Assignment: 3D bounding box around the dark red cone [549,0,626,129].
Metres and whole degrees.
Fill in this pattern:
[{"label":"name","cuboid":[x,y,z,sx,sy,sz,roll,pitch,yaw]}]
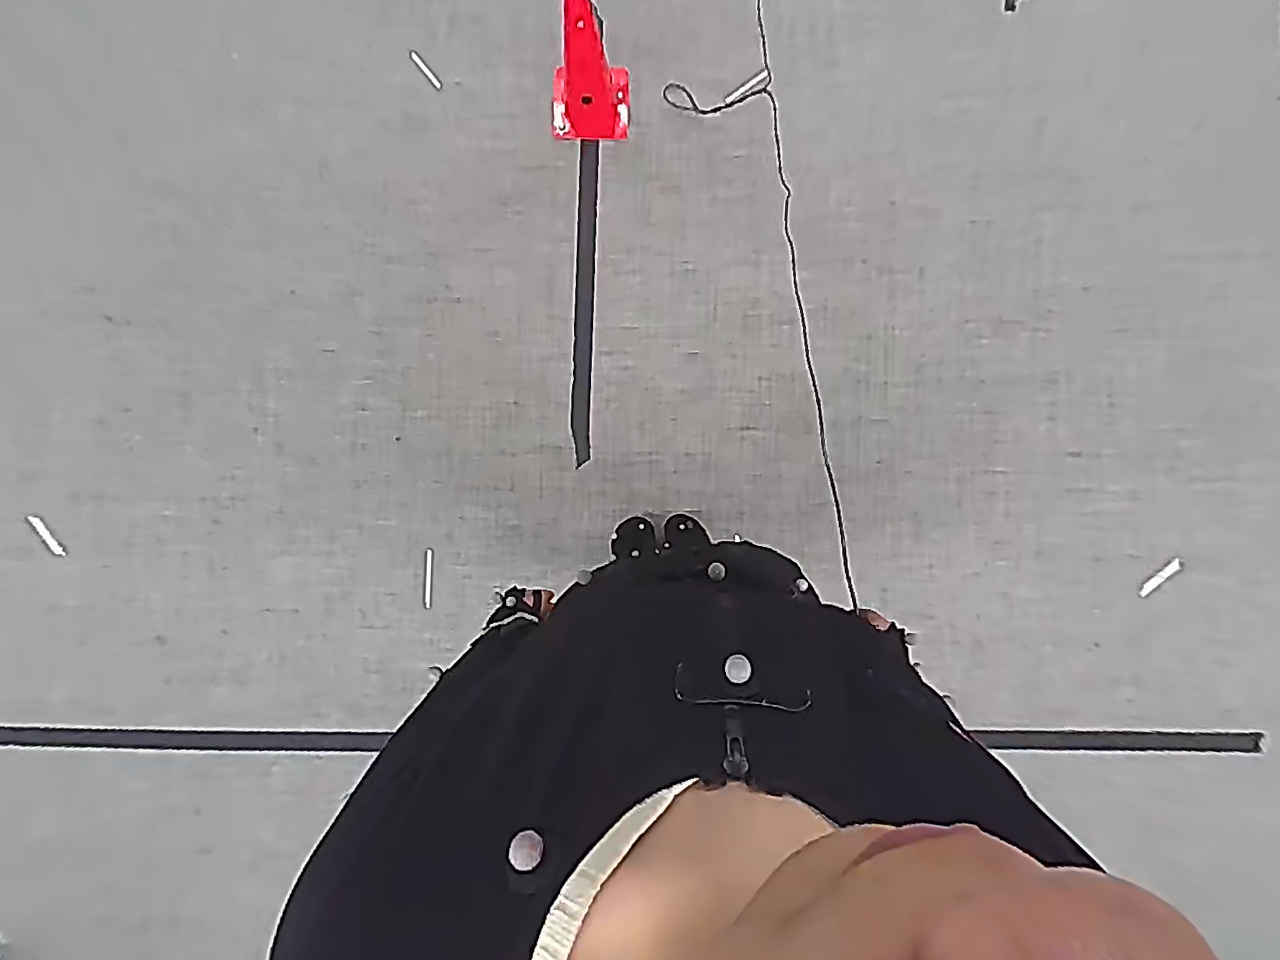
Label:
[{"label":"dark red cone","cuboid":[-0.133,-1.012,1.236,0.201,0.394,0.202,0,88,-1]}]
